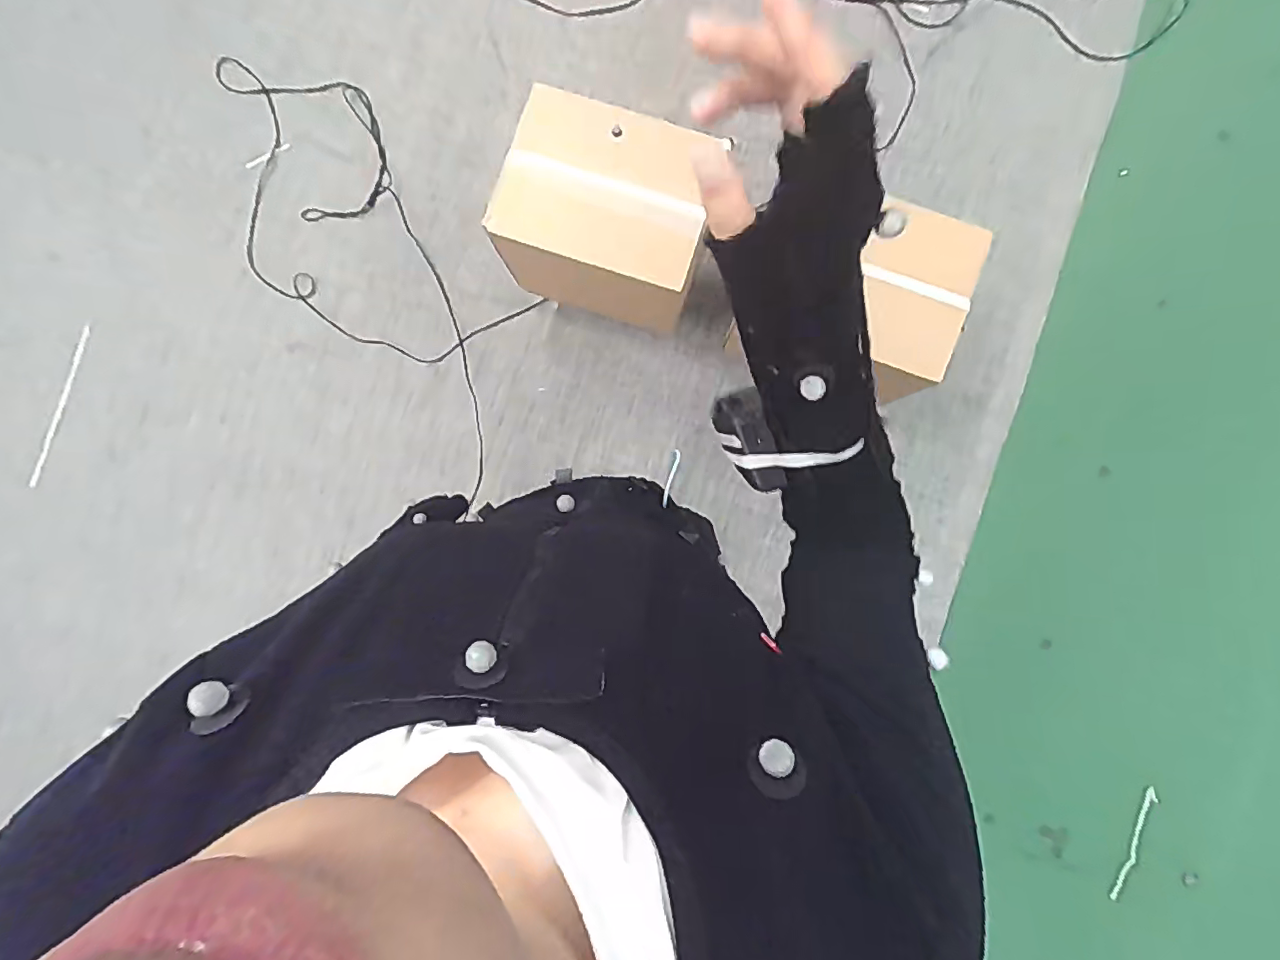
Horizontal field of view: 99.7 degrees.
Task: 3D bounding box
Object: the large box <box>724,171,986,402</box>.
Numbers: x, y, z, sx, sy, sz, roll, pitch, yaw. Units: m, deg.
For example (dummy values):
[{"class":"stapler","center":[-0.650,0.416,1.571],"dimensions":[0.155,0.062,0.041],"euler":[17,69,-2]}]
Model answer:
[{"class":"large box","center":[0.442,-0.398,1.202],"dimensions":[0.408,0.320,0.320],"euler":[21,89,2]}]
